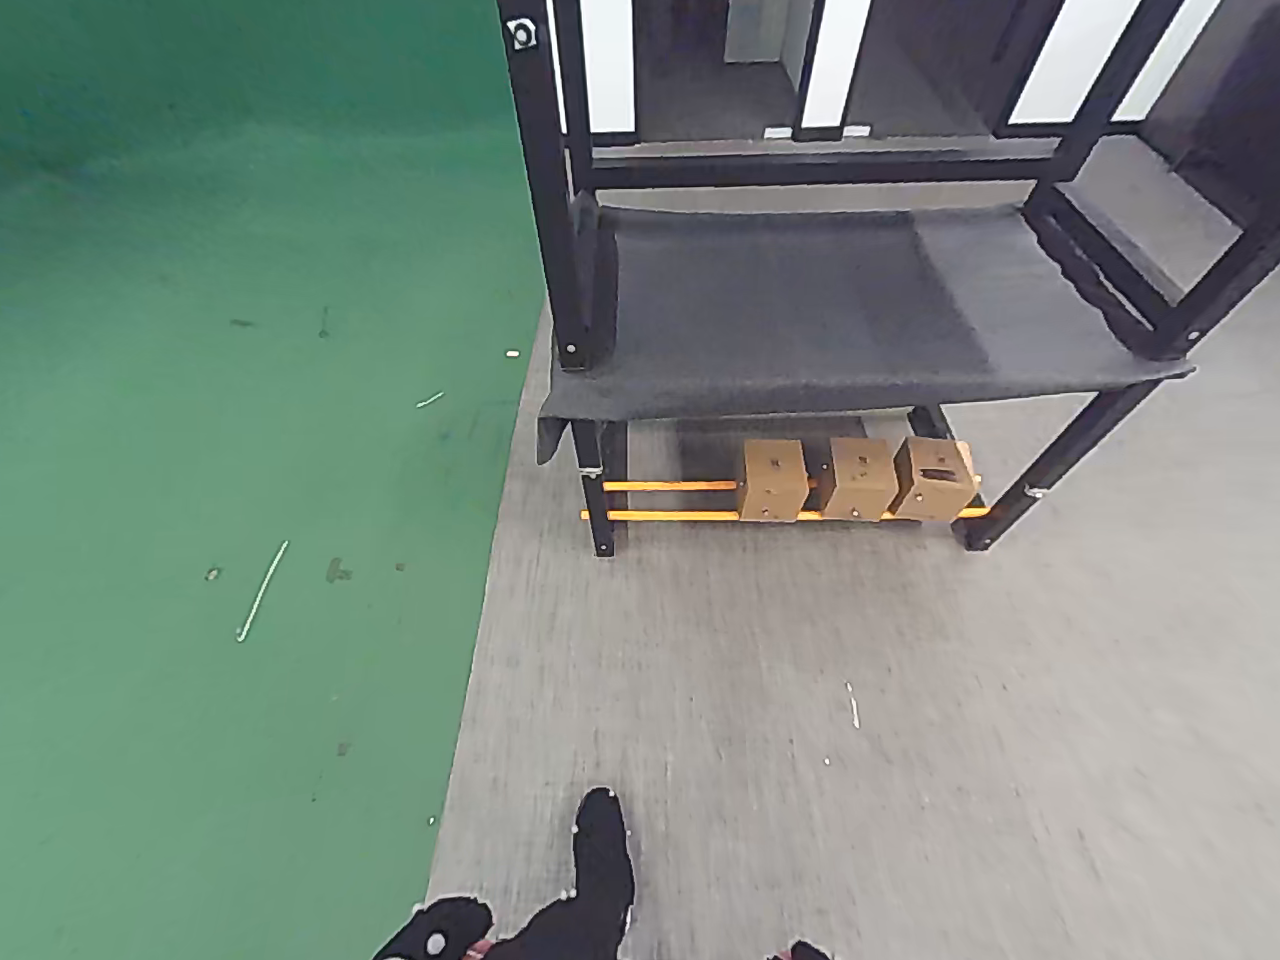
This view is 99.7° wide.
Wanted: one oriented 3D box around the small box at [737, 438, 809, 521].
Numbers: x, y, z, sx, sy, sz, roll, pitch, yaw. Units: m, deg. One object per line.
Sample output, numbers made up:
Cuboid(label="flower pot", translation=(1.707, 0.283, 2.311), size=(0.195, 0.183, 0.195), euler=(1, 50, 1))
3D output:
Cuboid(label="small box", translation=(0.373, 0.001, 1.553), size=(0.168, 0.176, 0.179), euler=(1, 57, 2))
